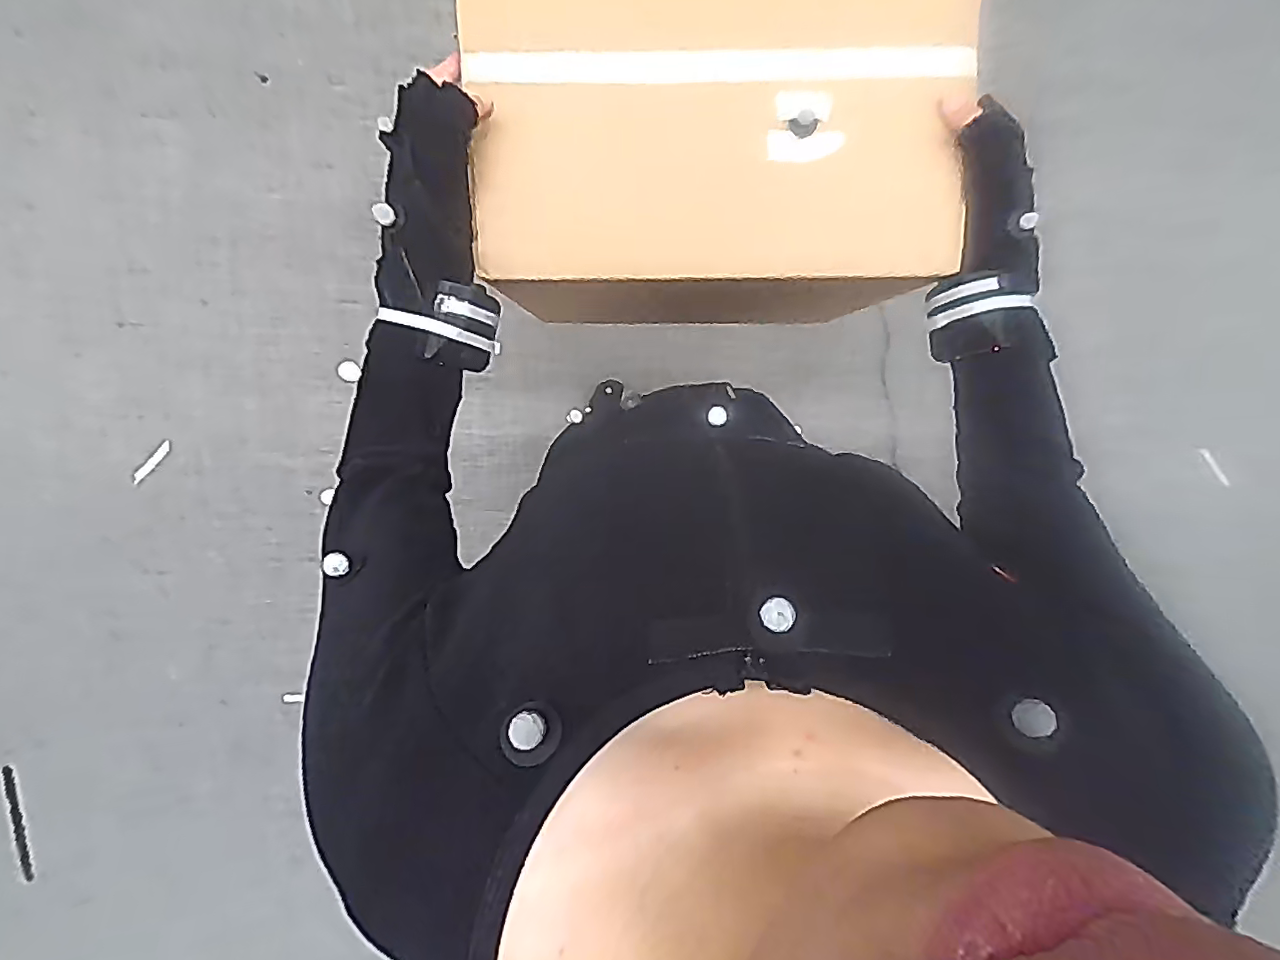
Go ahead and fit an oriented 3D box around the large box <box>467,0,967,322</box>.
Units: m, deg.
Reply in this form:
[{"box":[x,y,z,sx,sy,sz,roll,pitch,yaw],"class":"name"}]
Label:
[{"box":[0.058,-0.354,0.583,0.408,0.320,0.320,0,99,-1],"class":"large box"}]
